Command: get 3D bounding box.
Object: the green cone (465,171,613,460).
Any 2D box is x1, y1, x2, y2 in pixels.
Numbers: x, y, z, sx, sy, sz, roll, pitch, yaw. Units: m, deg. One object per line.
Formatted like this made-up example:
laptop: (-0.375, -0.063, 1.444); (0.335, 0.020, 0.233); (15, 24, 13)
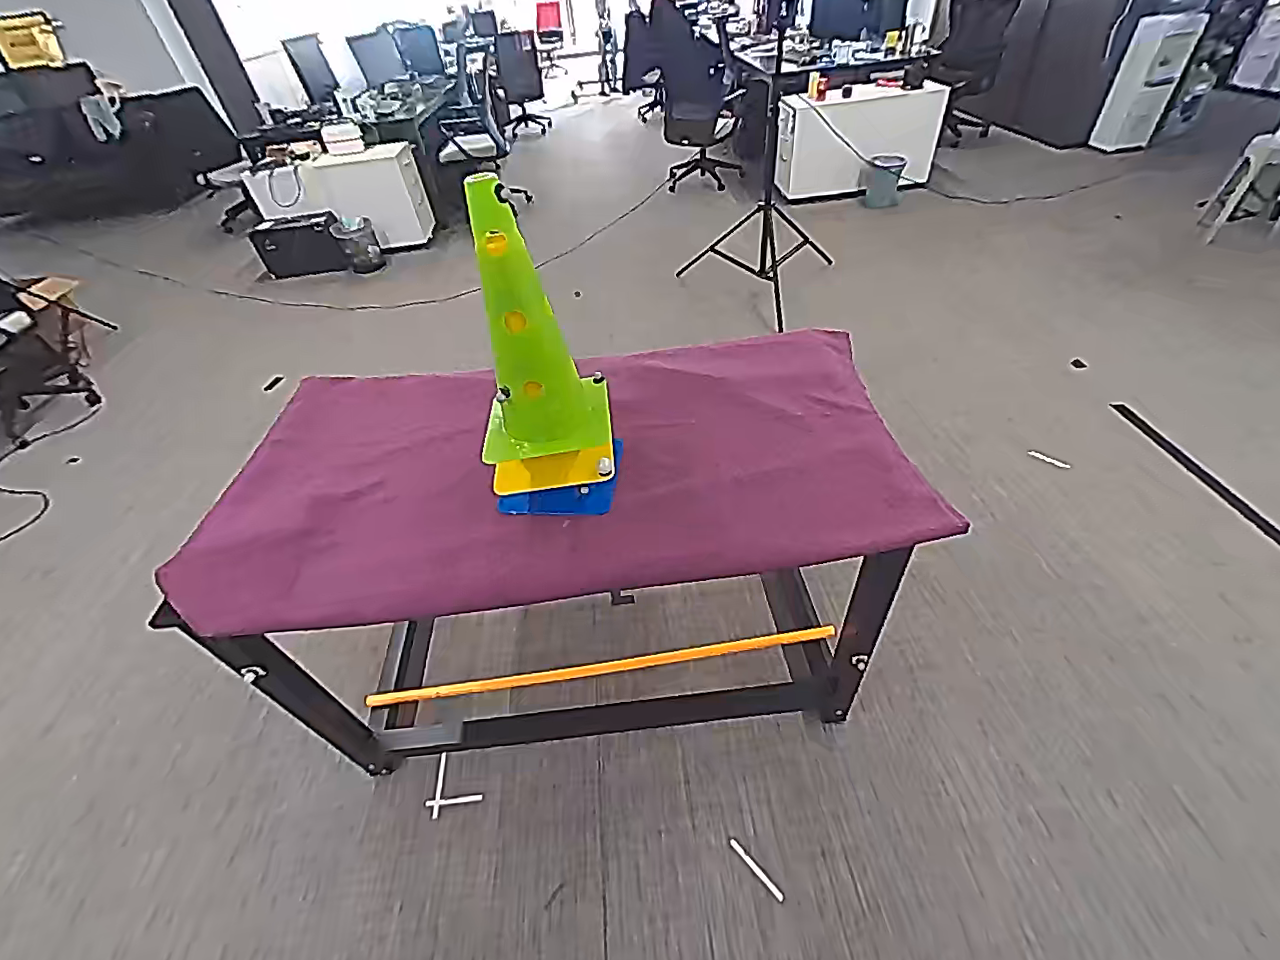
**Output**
green cone: (-0.170, -0.233, 0.766); (0.200, 0.368, 0.202); (-10, 42, 0)
